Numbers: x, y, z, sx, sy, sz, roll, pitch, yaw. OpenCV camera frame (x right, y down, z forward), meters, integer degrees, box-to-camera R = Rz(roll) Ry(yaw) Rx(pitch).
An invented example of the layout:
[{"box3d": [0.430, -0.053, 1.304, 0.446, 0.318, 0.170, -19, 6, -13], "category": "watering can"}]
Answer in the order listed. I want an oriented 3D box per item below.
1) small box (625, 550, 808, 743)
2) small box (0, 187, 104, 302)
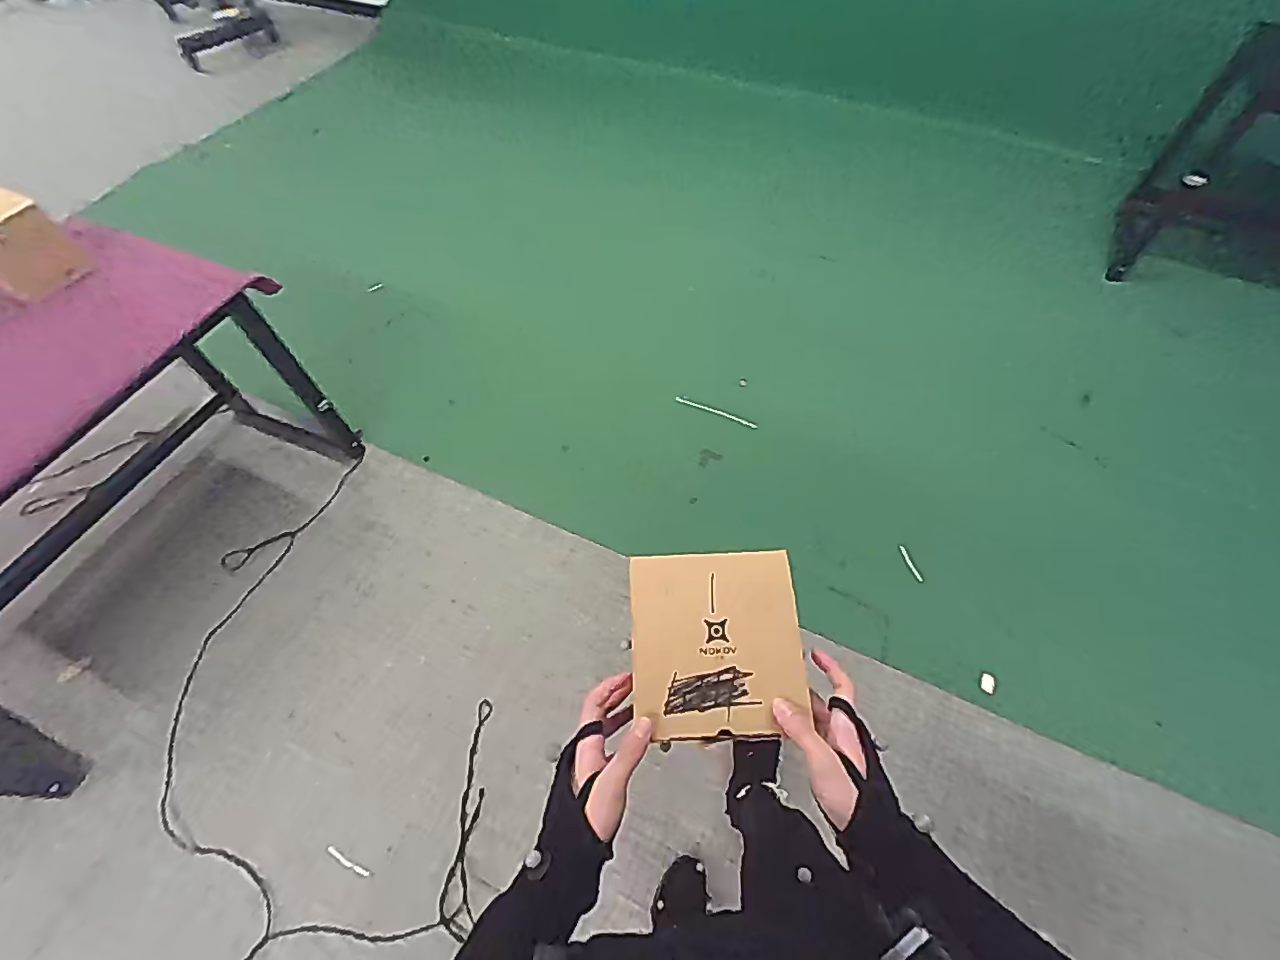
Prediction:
[{"box3d": [0.070, 0.186, 0.593, 0.168, 0.176, 0.179, -2, 65, -1], "category": "small box"}, {"box3d": [-1.442, -0.546, 1.263, 0.179, 0.176, 0.168, 23, 62, 15], "category": "small box"}]
